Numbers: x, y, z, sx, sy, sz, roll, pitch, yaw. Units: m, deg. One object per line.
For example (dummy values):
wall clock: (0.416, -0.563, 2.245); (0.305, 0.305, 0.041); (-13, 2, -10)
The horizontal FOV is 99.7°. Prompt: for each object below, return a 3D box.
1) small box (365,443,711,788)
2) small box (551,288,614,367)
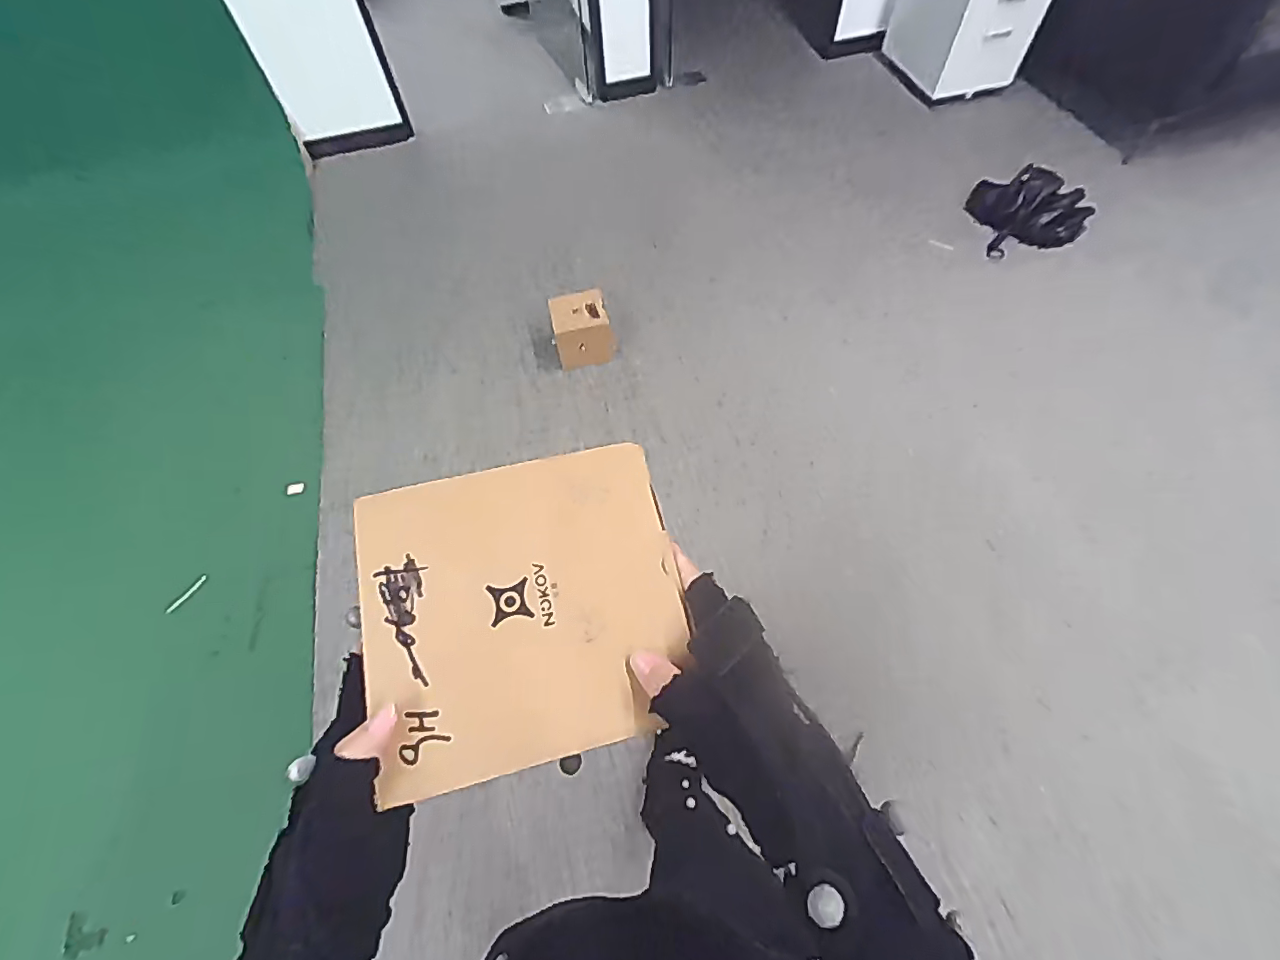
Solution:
small box: (-0.070, 0.095, 0.382); (0.179, 0.176, 0.168); (-11, 68, -10)
small box: (-0.185, -0.500, 1.784); (0.179, 0.176, 0.168); (-14, 61, -6)
